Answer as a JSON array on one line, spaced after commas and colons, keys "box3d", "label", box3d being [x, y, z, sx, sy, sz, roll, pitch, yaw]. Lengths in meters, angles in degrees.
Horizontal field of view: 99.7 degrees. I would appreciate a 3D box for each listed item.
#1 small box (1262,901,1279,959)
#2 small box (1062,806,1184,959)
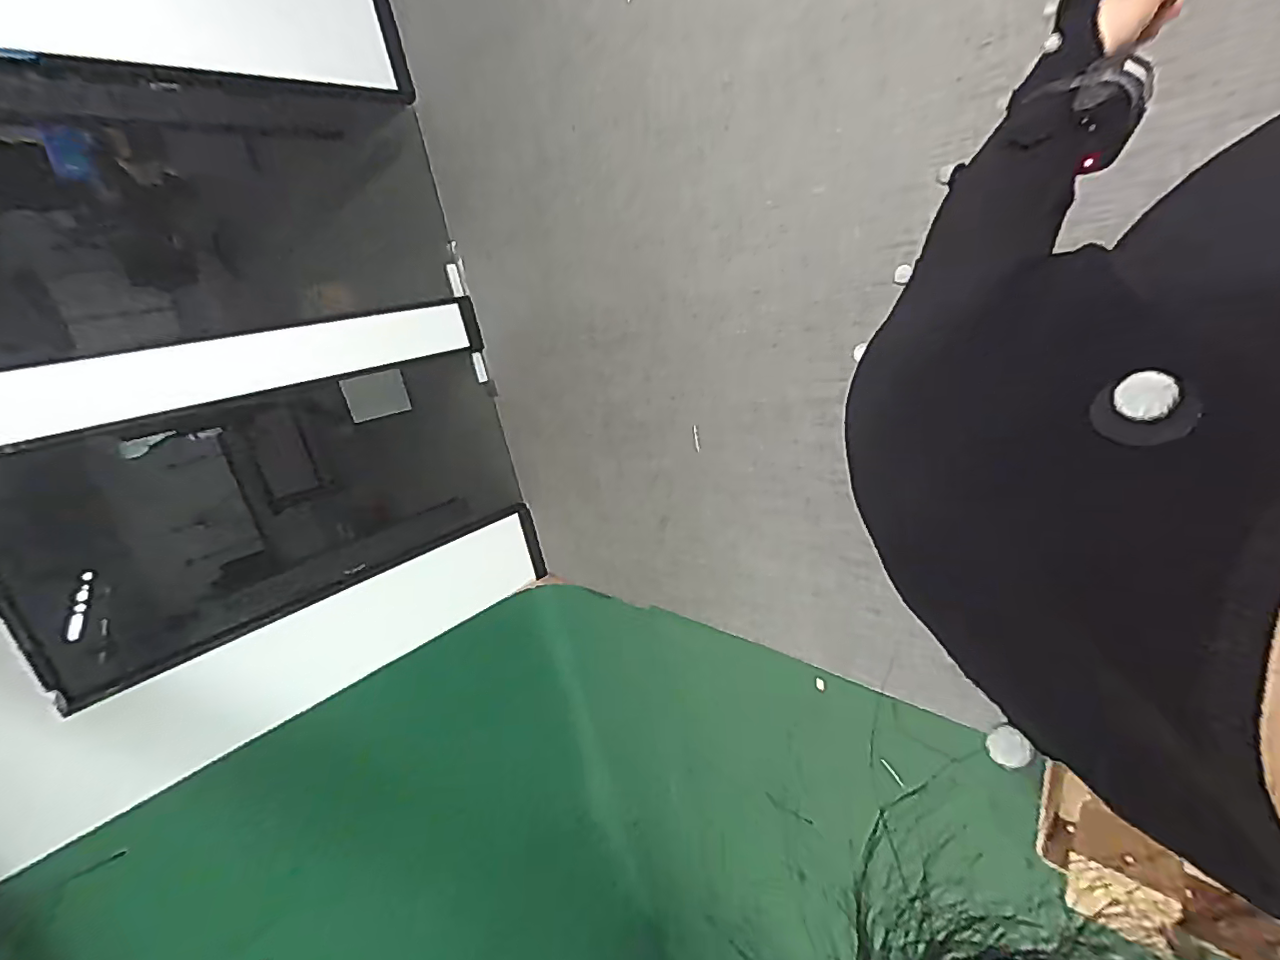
[{"box3d": [1.255, 0.899, 0.962, 0.179, 0.176, 0.168, 12, 118, 45], "label": "small box"}, {"box3d": [1.052, 0.863, 1.178, 0.179, 0.176, 0.168, 9, 114, 46], "label": "small box"}]
